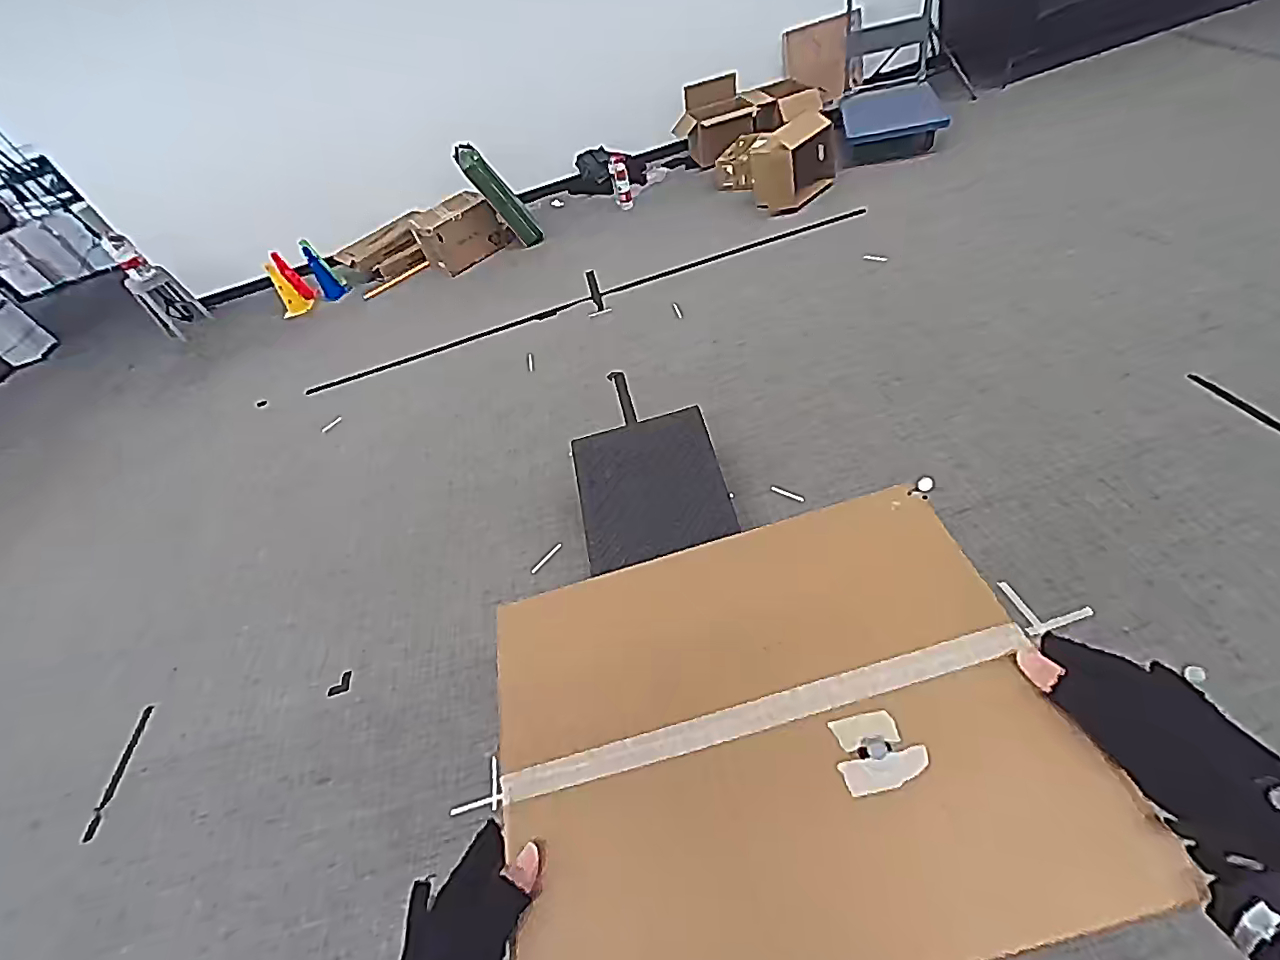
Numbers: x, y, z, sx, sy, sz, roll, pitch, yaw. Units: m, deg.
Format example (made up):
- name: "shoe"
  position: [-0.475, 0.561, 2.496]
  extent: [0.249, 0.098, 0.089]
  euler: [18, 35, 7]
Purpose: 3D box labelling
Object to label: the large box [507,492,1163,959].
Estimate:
- name: "large box"
  position: [0.122, 0.273, 0.531]
  extent: [0.408, 0.320, 0.320]
  euler: [-17, 50, 1]
